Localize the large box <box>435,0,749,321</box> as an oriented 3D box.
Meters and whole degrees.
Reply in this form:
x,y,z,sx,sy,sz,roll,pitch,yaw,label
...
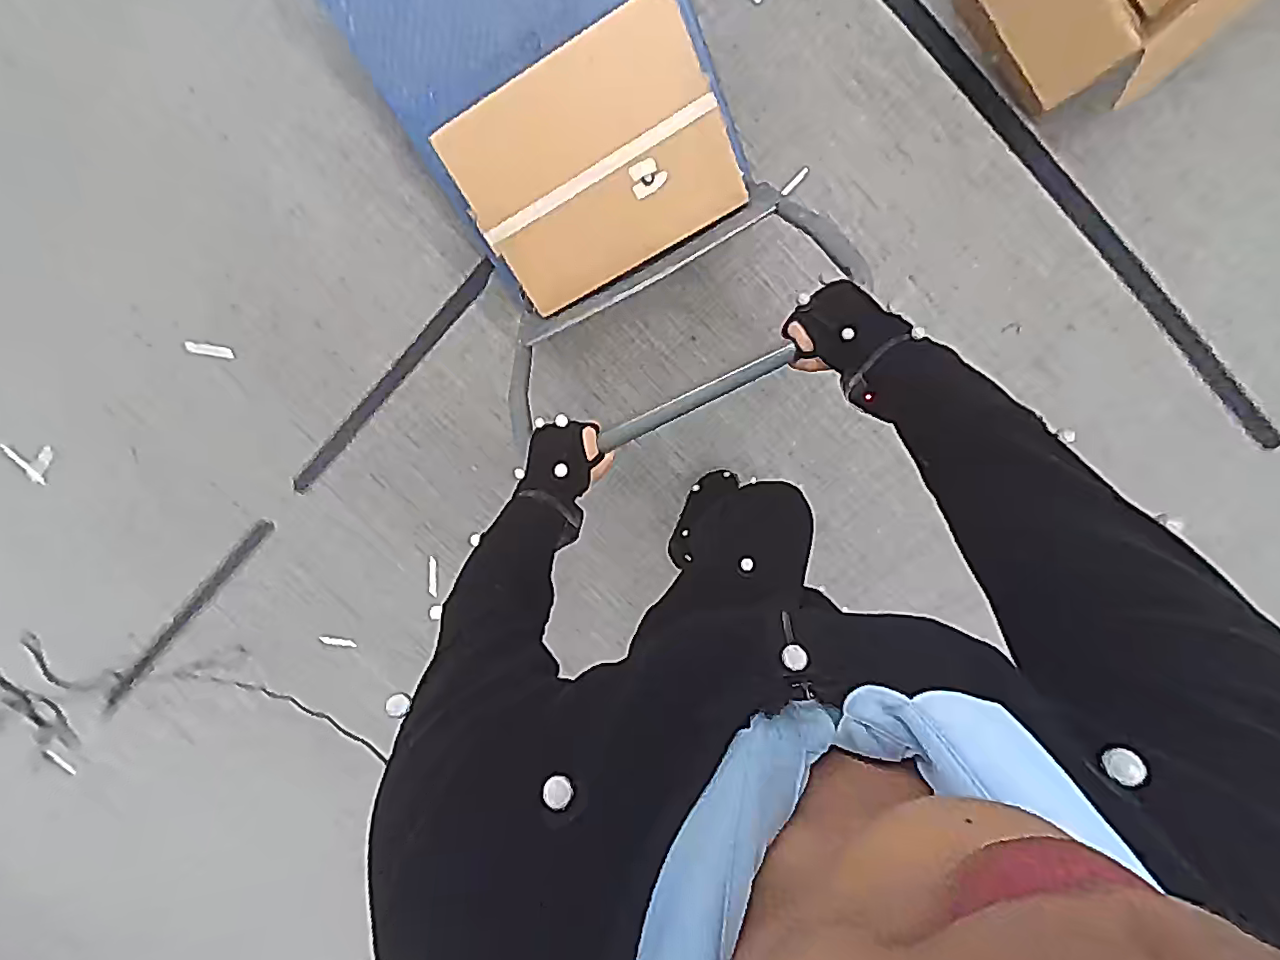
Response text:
x,y,z,sx,sy,sz,roll,pitch,yaw,label
-0.079,-0.553,0.963,0.408,0.320,0.320,-27,122,11,large box
